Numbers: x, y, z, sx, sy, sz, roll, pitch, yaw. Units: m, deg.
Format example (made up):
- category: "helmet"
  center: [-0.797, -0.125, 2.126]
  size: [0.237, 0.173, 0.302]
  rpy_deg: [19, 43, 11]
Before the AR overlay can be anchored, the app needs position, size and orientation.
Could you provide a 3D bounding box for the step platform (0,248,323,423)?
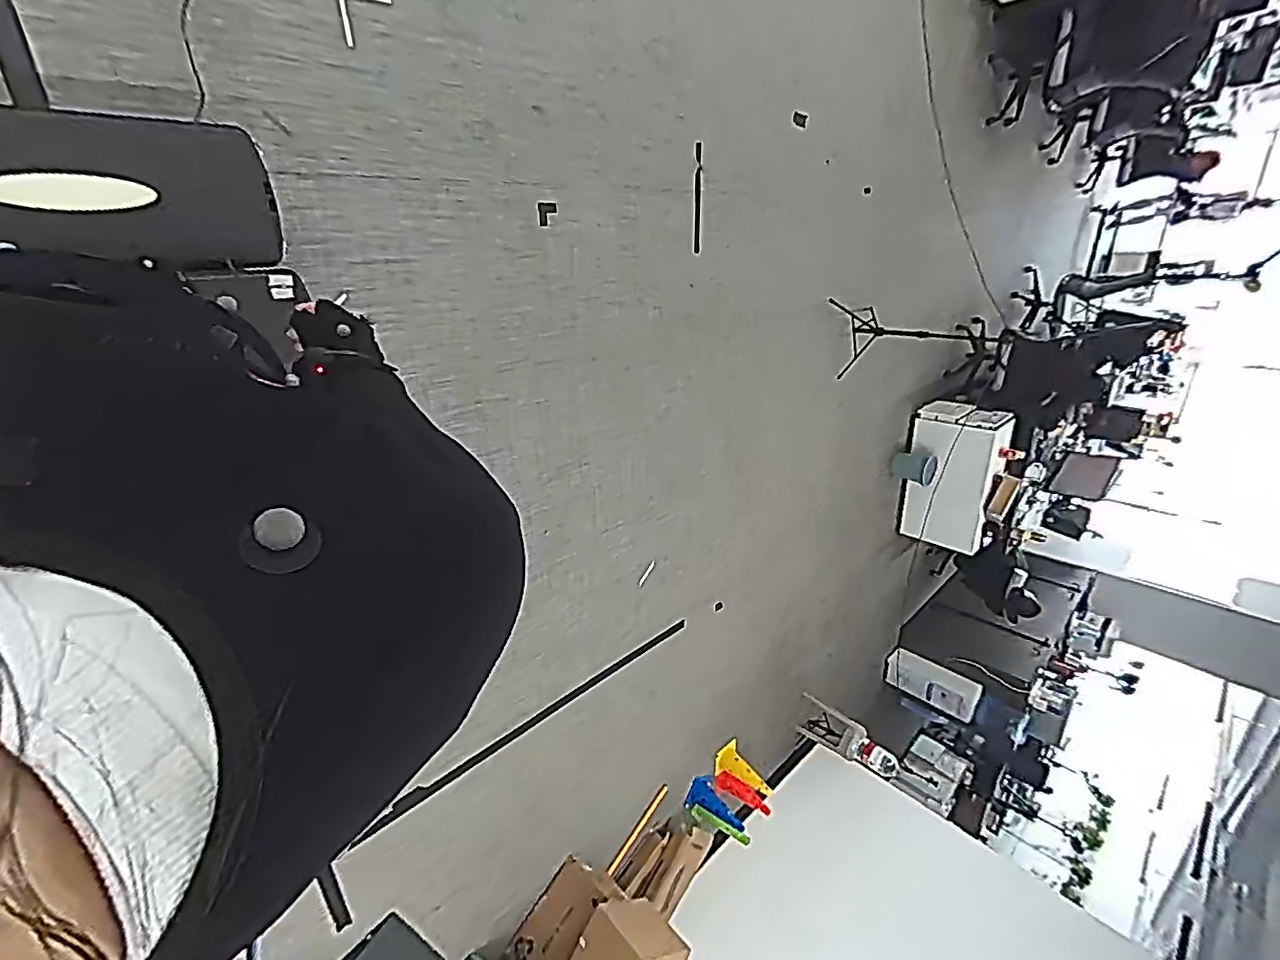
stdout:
- category: "step platform"
  center: [-1.050, -0.311, 1.111]
  size: [0.684, 0.204, 0.286]
  rpy_deg: [-22, 118, -36]
